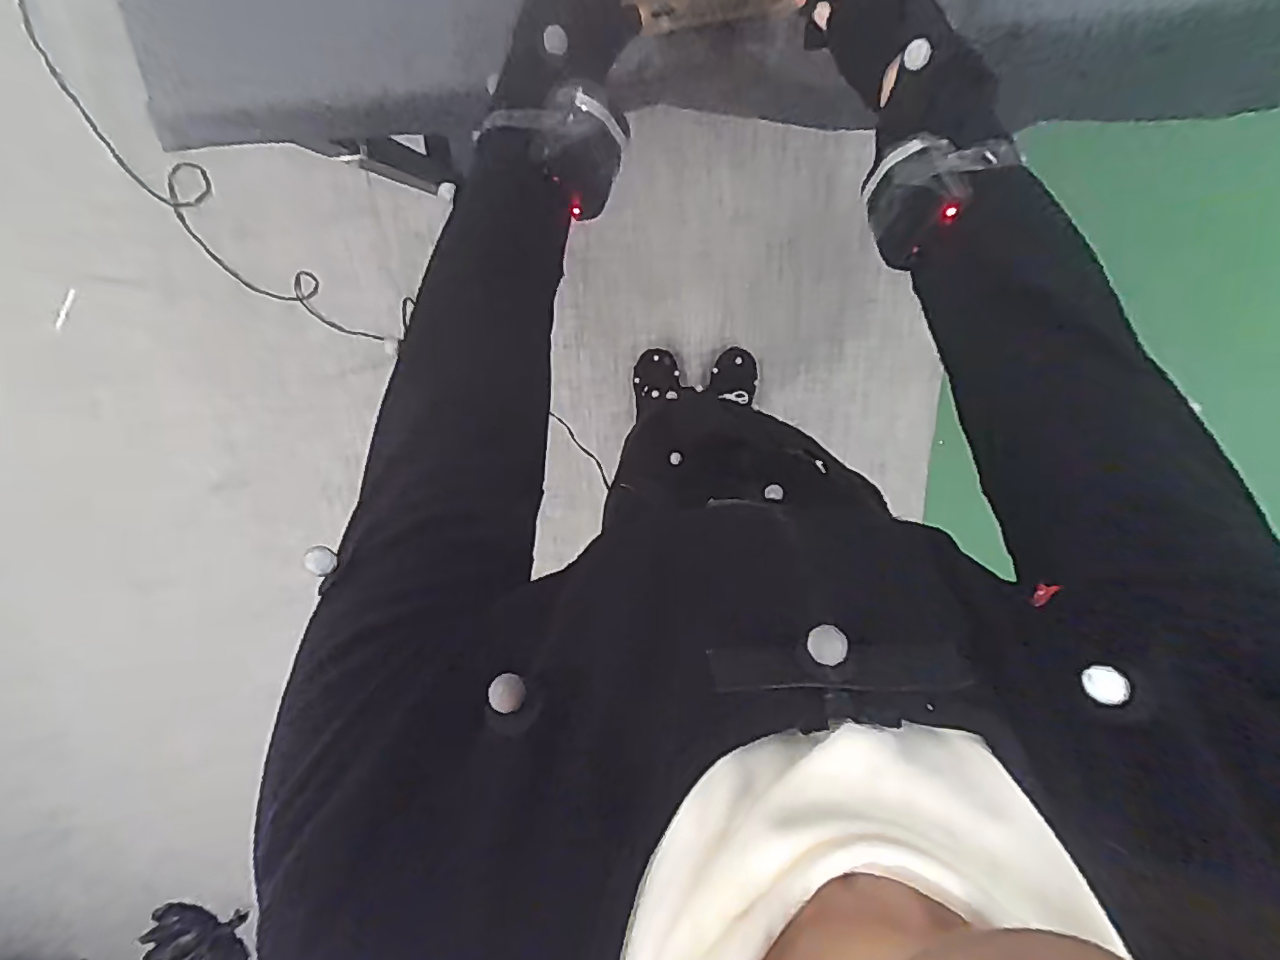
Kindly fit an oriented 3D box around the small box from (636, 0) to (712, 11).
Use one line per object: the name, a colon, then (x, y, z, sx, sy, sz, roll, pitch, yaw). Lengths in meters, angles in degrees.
small box: (0.057, -0.493, 0.398, 0.168, 0.176, 0.179, -11, 104, 1)
